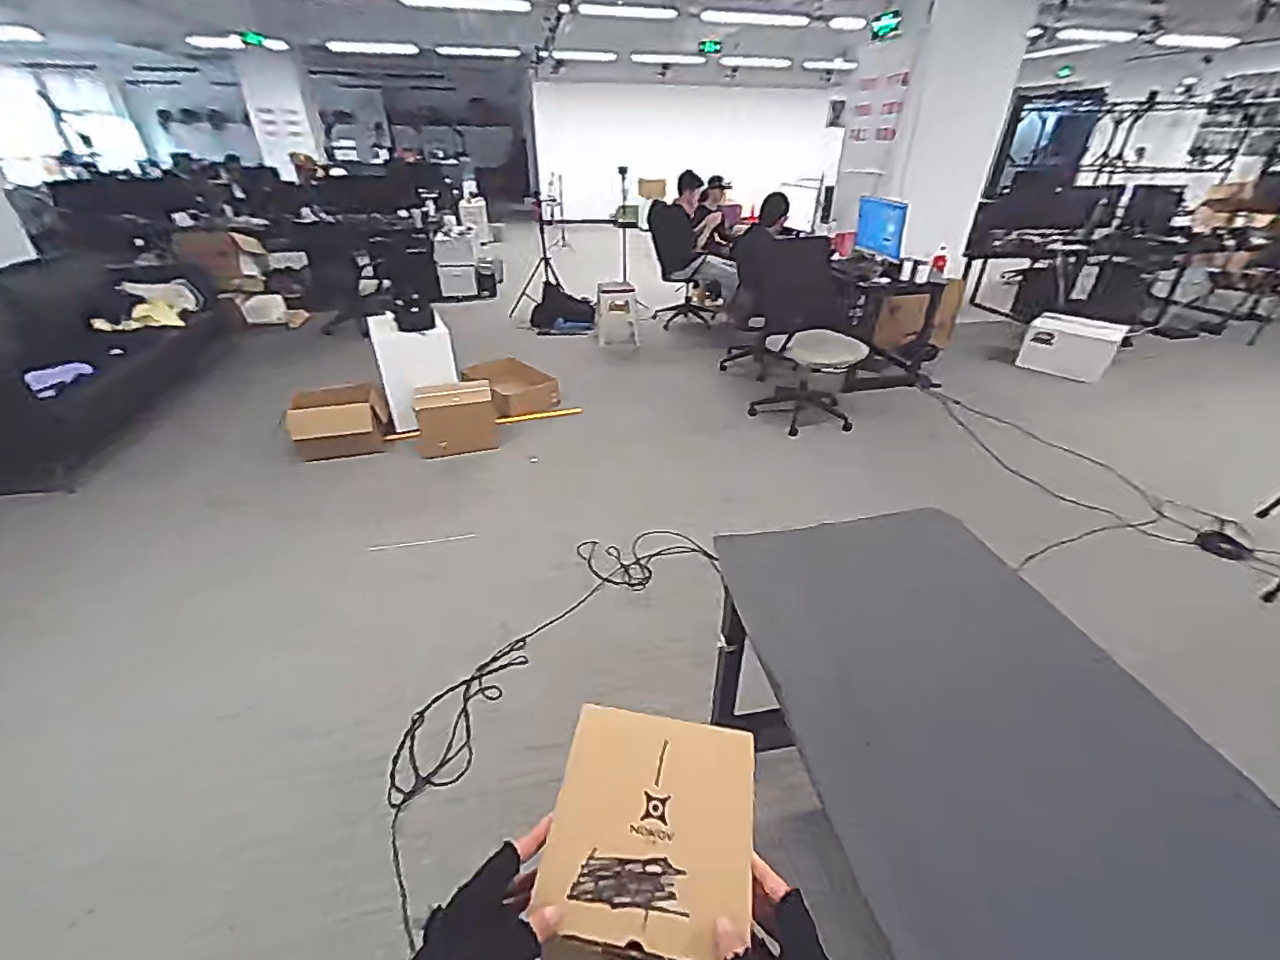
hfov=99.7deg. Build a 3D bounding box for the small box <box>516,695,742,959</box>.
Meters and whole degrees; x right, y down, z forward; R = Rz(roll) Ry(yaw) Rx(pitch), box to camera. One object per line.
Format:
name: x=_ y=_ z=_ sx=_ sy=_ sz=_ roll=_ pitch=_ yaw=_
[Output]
small box: x=0.000 y=0.334 z=0.504 sx=0.168 sy=0.176 sz=0.179 roll=7 pitch=40 yaw=6
